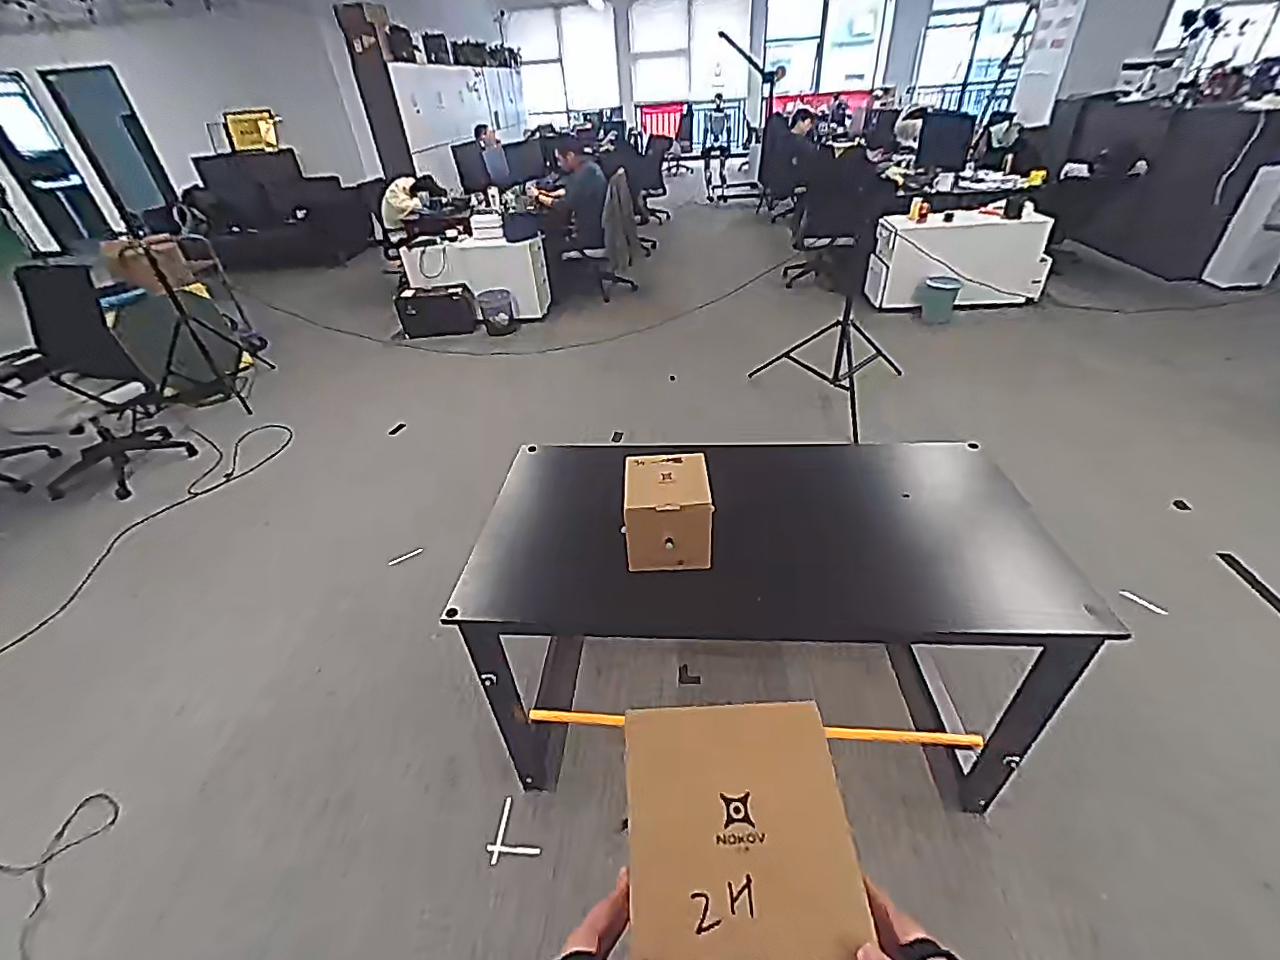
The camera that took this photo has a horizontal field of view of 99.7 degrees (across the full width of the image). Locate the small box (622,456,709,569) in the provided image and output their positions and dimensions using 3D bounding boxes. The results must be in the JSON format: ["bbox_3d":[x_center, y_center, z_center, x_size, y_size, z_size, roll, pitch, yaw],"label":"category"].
[{"bbox_3d":[0.055,0.071,1.118,0.168,0.176,0.179,-3,36,3],"label":"small box"}]

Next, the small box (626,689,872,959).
[{"bbox_3d":[0.073,0.305,0.474,0.168,0.176,0.179,-3,47,0],"label":"small box"}]
